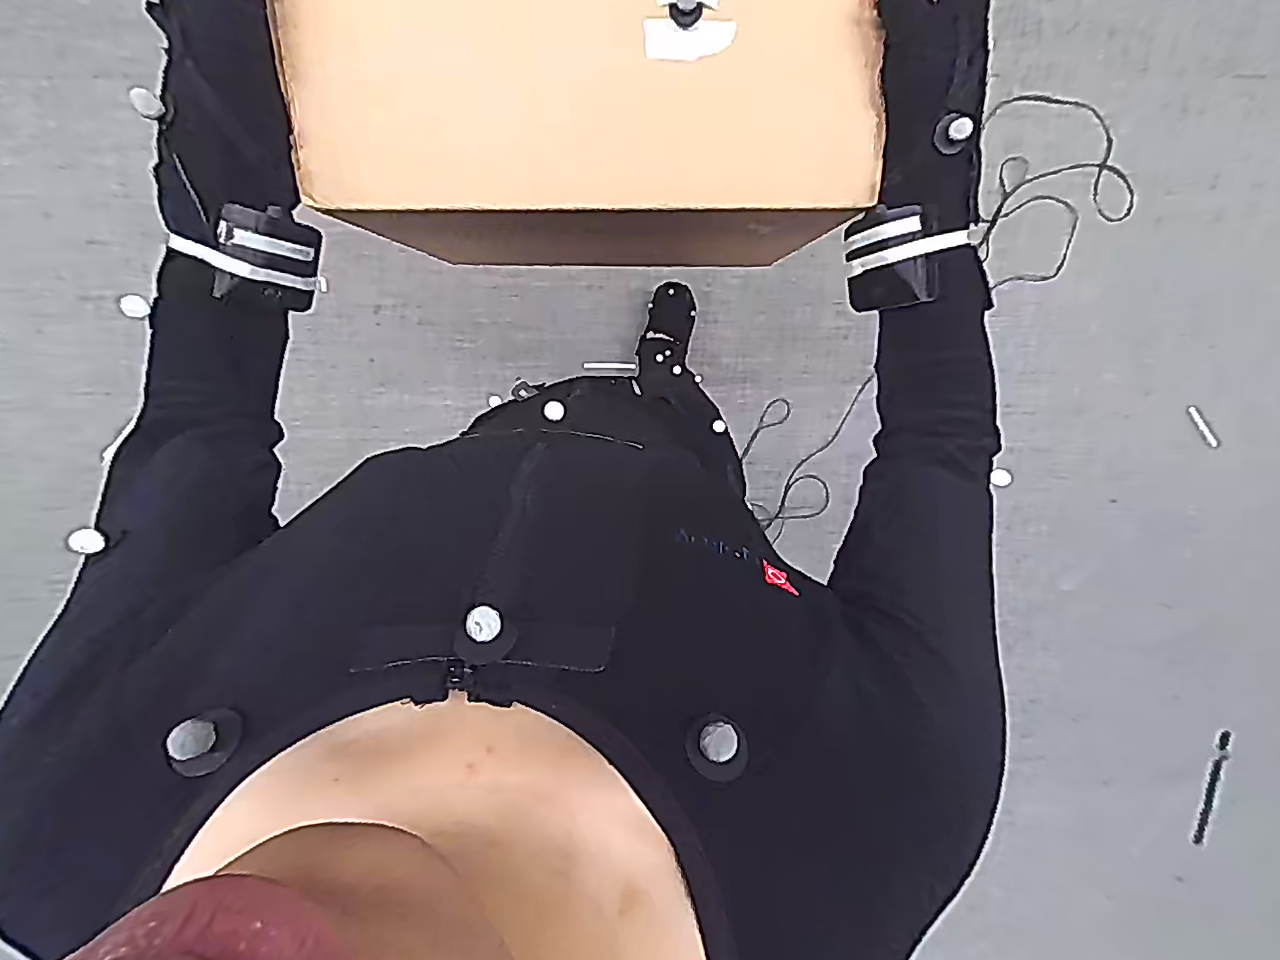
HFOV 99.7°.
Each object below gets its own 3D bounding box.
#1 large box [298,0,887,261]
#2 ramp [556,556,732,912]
[{"bbox_3d":[-0.034,-0.392,0.500,0.408,0.320,0.320,-1,105,-1],"label":"large box"},{"bbox_3d":[0.009,0.715,1.526,0.509,0.206,0.991,-2,100,1],"label":"ramp"}]
